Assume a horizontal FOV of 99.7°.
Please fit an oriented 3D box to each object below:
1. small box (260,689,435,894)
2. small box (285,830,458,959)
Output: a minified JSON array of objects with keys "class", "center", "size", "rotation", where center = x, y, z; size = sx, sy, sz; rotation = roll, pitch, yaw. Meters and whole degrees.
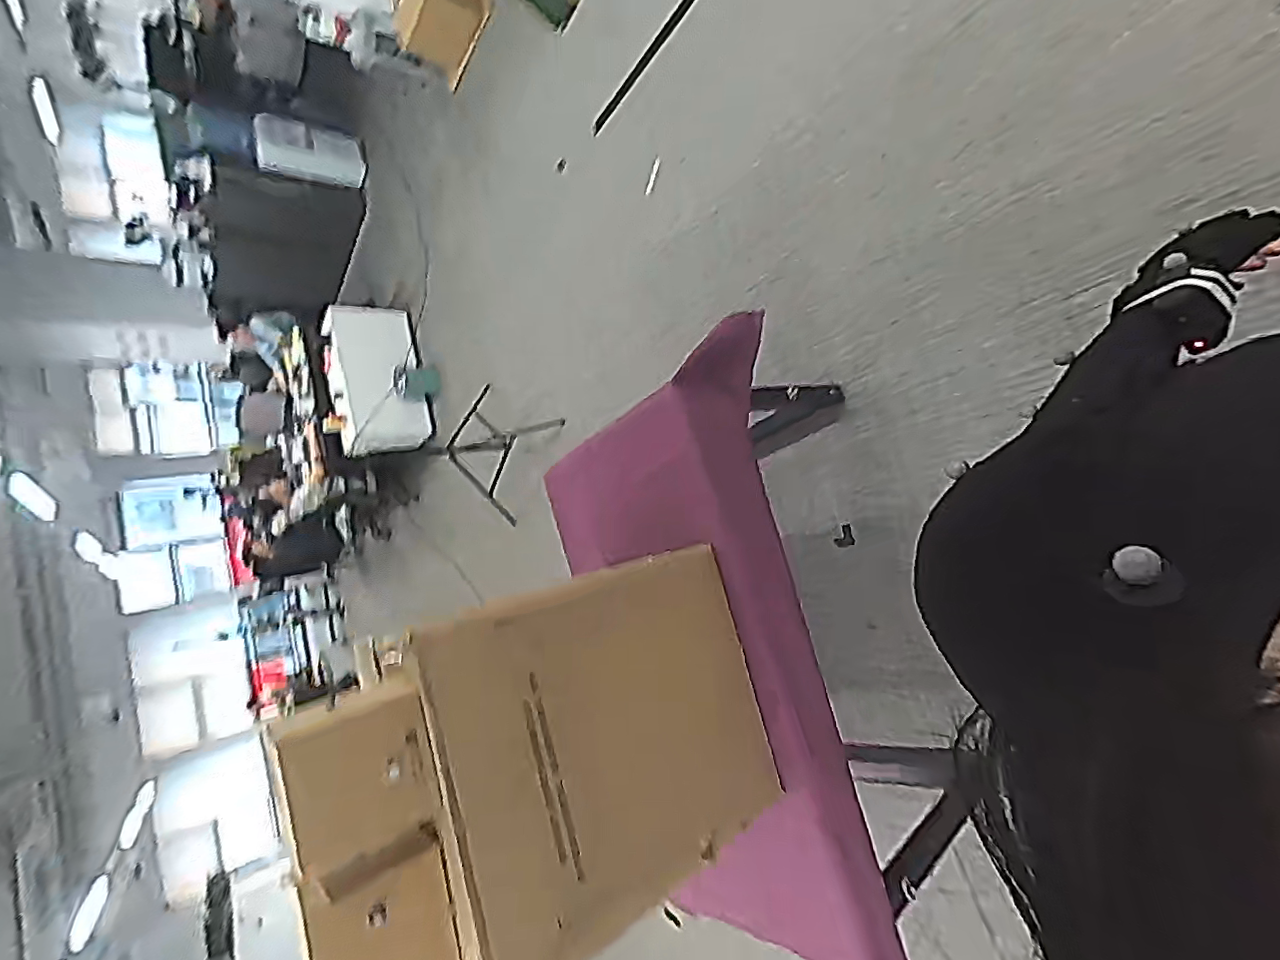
[{"class":"small box","center":[-0.396,0.398,0.732],"size":[0.179,0.176,0.168],"rotation":[-20,83,50]},{"class":"small box","center":[-0.367,0.622,0.741],"size":[0.168,0.176,0.179],"rotation":[-22,81,51]}]
